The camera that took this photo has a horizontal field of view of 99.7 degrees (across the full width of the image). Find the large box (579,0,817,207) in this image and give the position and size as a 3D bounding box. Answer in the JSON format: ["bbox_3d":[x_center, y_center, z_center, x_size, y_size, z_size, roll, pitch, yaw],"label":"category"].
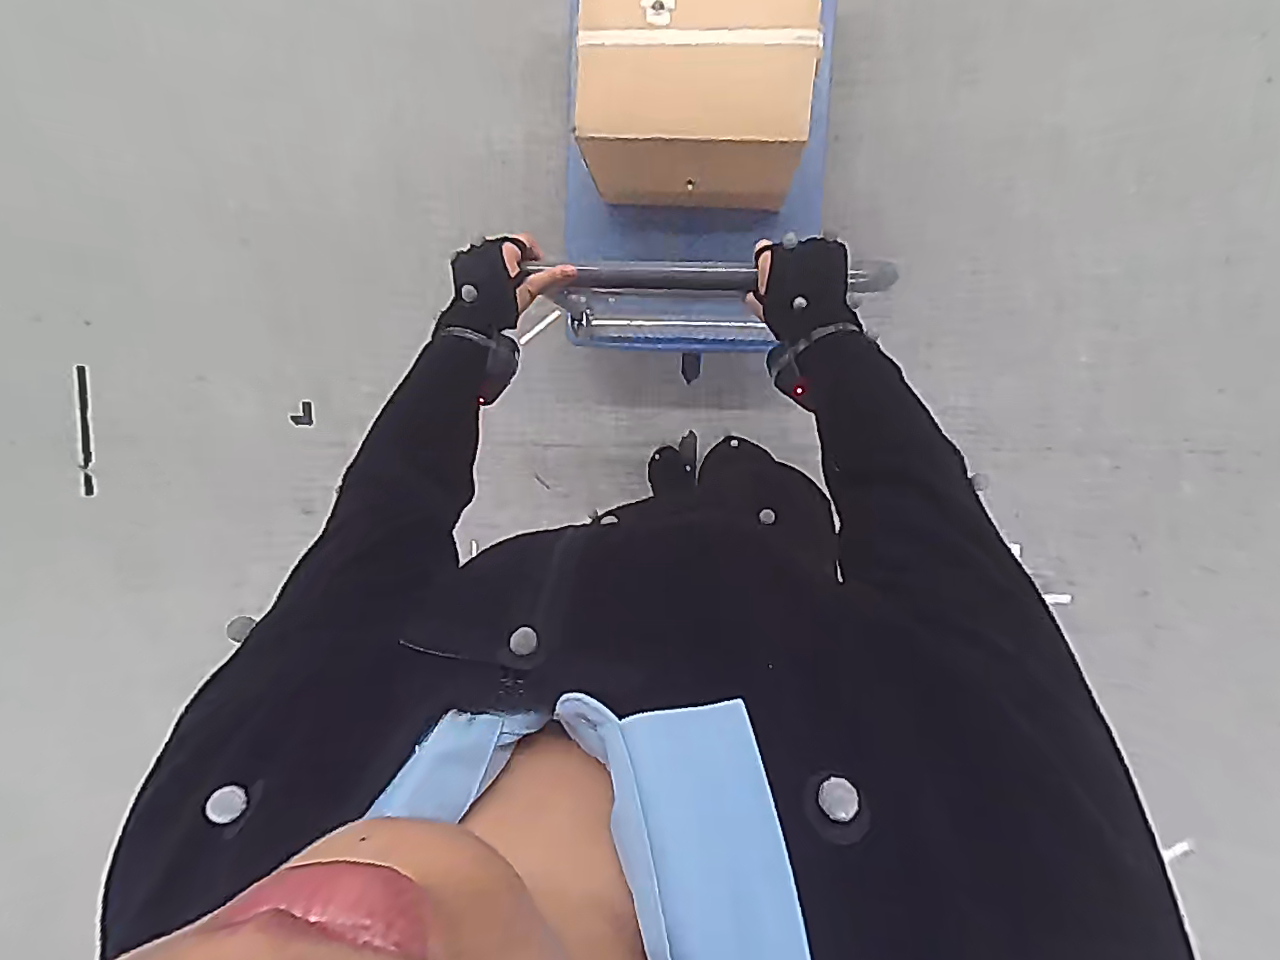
[{"bbox_3d":[0.114,-0.759,1.074,0.408,0.320,0.320,5,96,6],"label":"large box"}]
